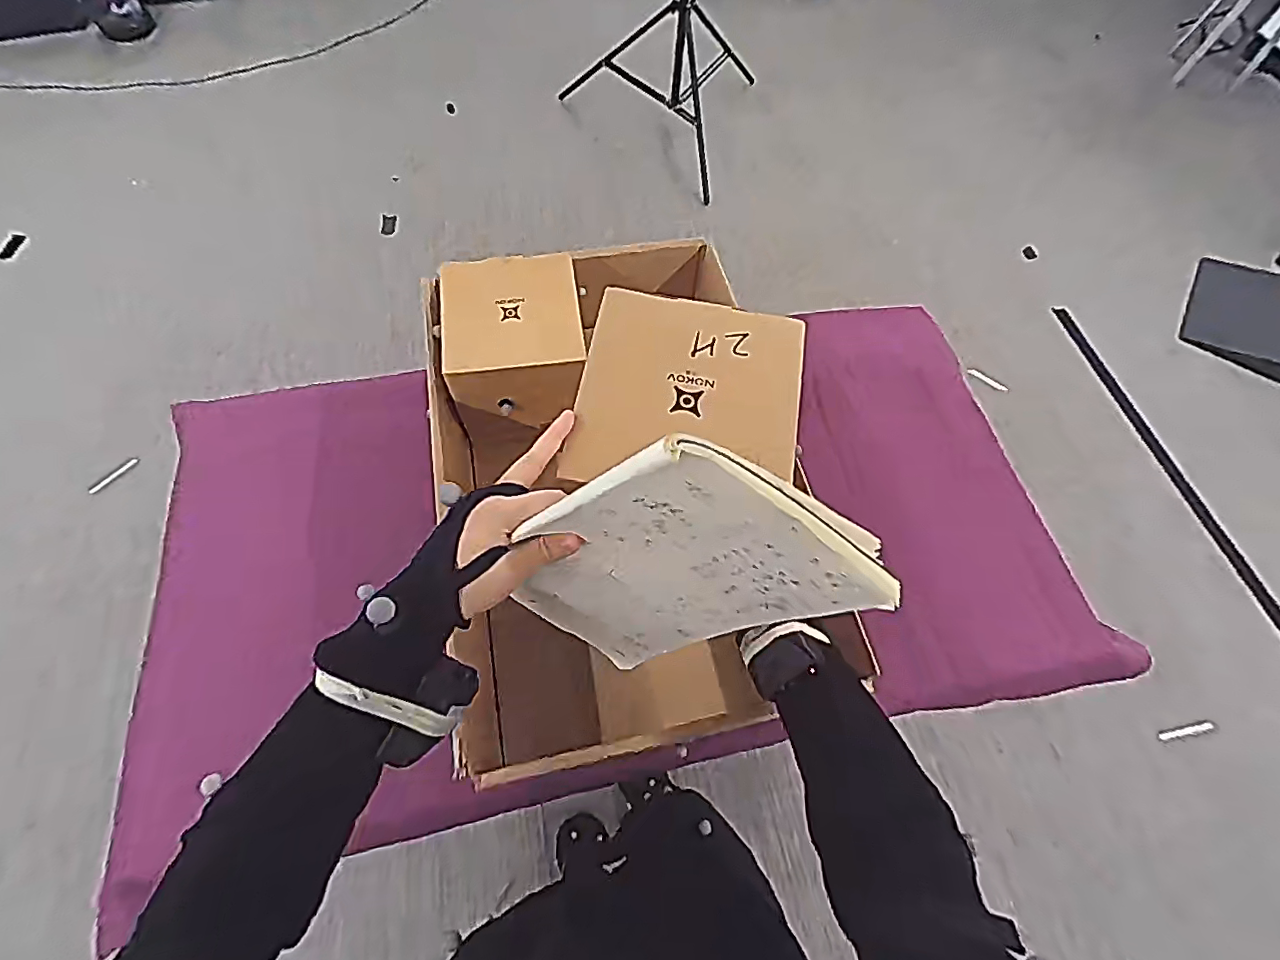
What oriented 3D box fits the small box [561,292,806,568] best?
[{"bbox_3d":[0.037,-0.032,0.481,0.168,0.176,0.179,10,67,2],"label":"small box"}]
